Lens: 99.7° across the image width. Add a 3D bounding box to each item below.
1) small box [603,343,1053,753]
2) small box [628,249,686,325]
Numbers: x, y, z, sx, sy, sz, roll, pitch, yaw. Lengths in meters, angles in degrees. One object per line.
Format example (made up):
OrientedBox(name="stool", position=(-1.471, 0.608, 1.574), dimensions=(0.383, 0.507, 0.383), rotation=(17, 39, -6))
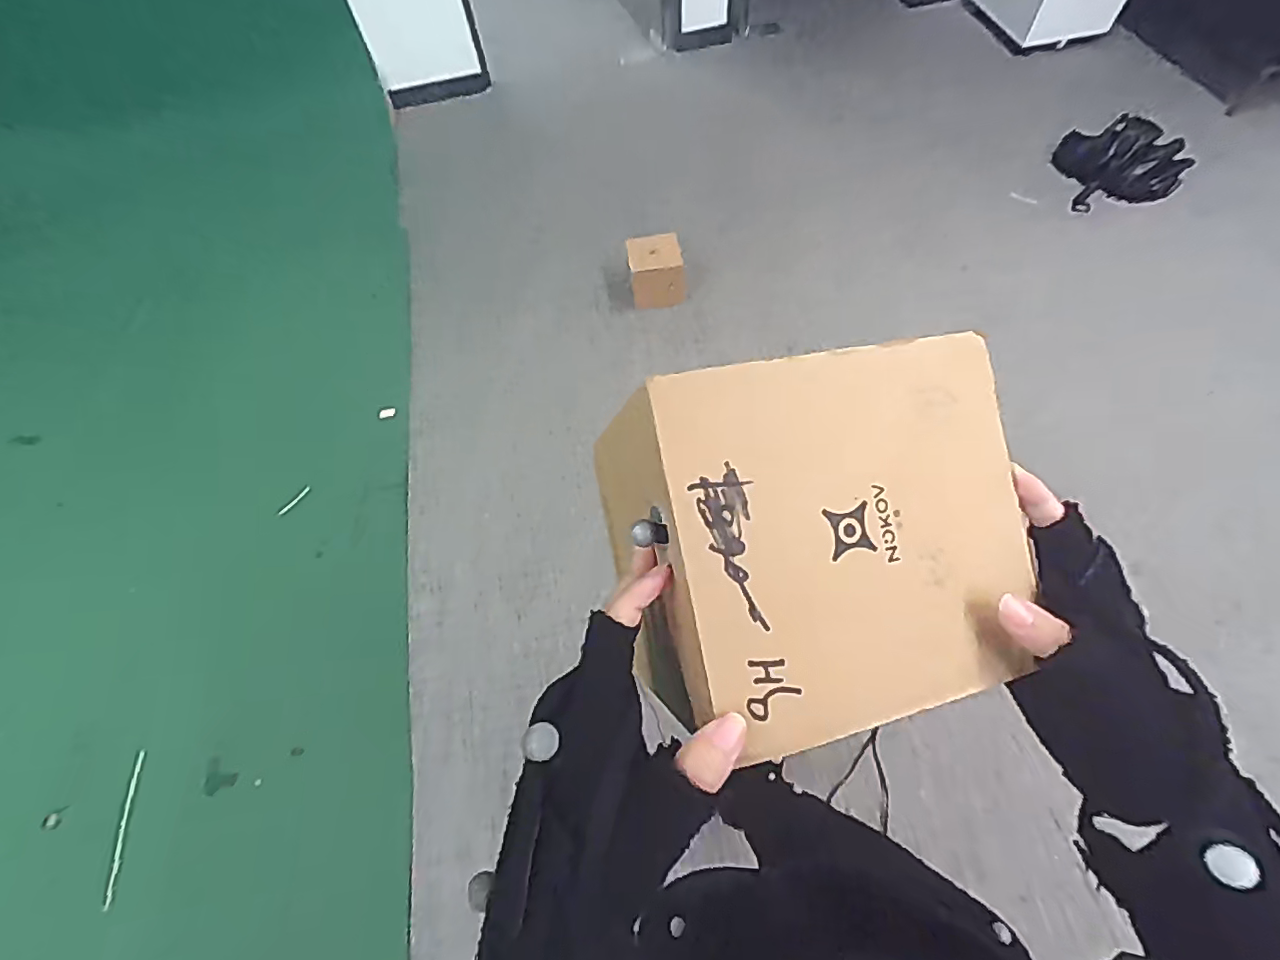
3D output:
OrientedBox(name="small box", position=(0.087, 0.031, 0.326), dimensions=(0.179, 0.176, 0.168), rotation=(-9, 84, -15))
OrientedBox(name="small box", position=(0.060, -0.661, 1.860), dimensions=(0.179, 0.176, 0.168), rotation=(-10, 59, 1))
